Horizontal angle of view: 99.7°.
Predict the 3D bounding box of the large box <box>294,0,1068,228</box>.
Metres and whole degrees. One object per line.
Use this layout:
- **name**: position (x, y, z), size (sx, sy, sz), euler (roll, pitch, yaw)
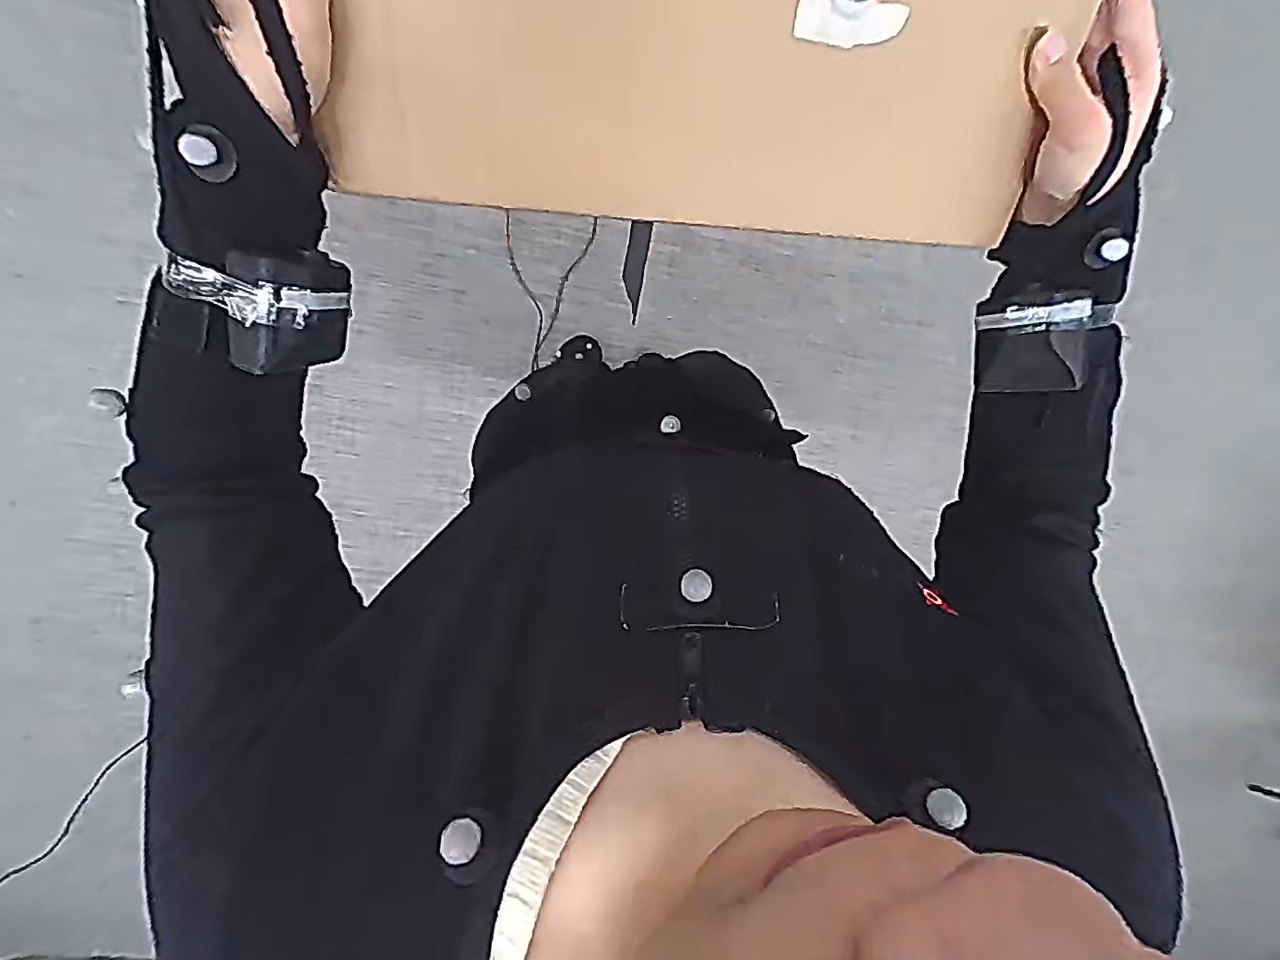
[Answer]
- **large box**: position (0.017, -0.370, 0.367), size (0.408, 0.320, 0.320), euler (0, 123, -10)
